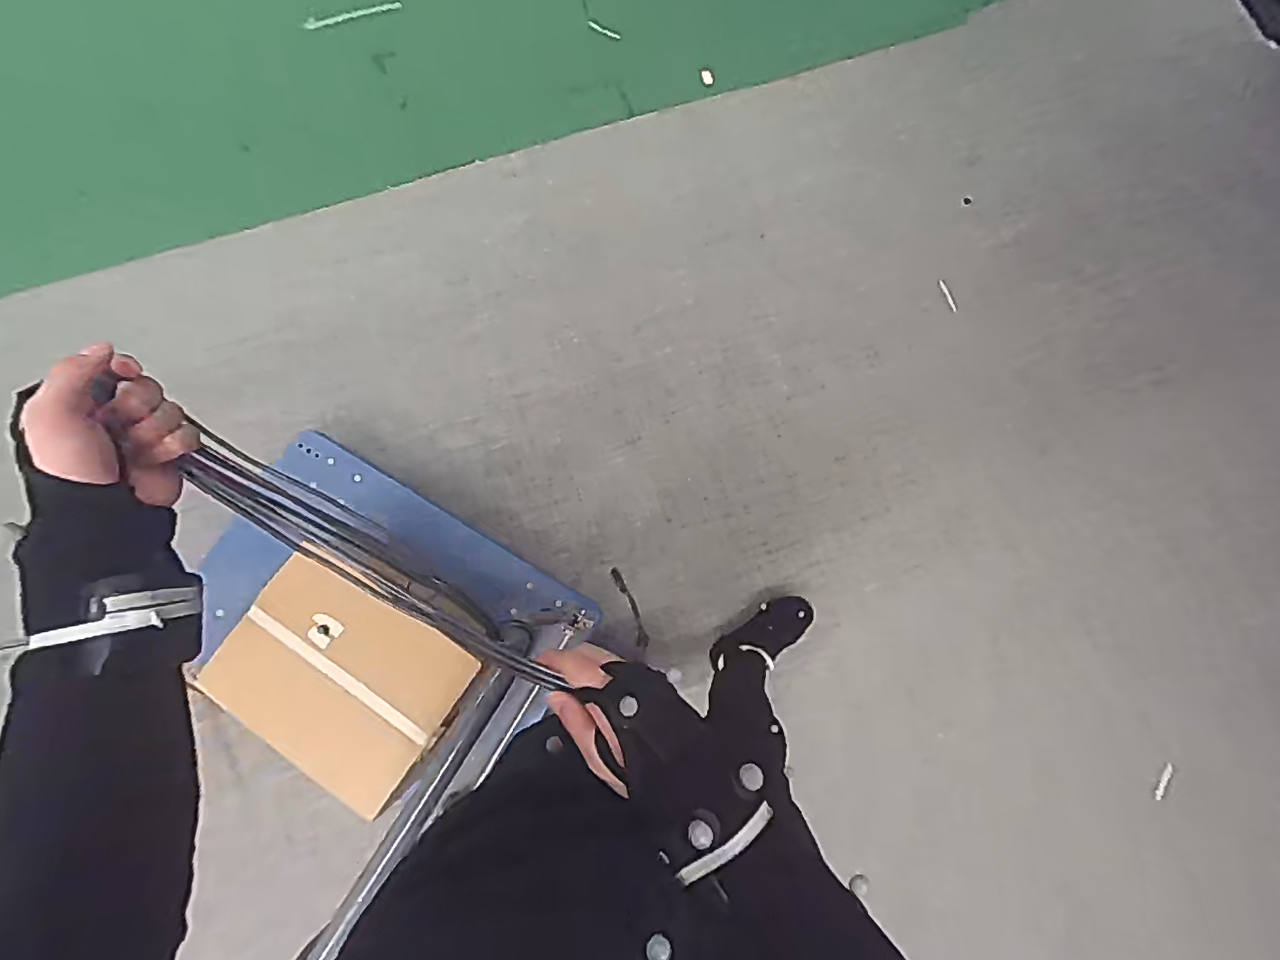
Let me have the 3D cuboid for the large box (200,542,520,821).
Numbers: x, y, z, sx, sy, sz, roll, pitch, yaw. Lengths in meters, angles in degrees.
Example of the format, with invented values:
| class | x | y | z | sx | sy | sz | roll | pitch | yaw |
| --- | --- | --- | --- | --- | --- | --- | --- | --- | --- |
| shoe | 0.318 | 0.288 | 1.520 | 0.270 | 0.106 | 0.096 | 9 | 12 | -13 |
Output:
| class | x | y | z | sx | sy | sz | roll | pitch | yaw |
| --- | --- | --- | --- | --- | --- | --- | --- | --- | --- |
| large box | -0.514 | 0.367 | 1.083 | 0.408 | 0.320 | 0.320 | 33 | 80 | 6 |
